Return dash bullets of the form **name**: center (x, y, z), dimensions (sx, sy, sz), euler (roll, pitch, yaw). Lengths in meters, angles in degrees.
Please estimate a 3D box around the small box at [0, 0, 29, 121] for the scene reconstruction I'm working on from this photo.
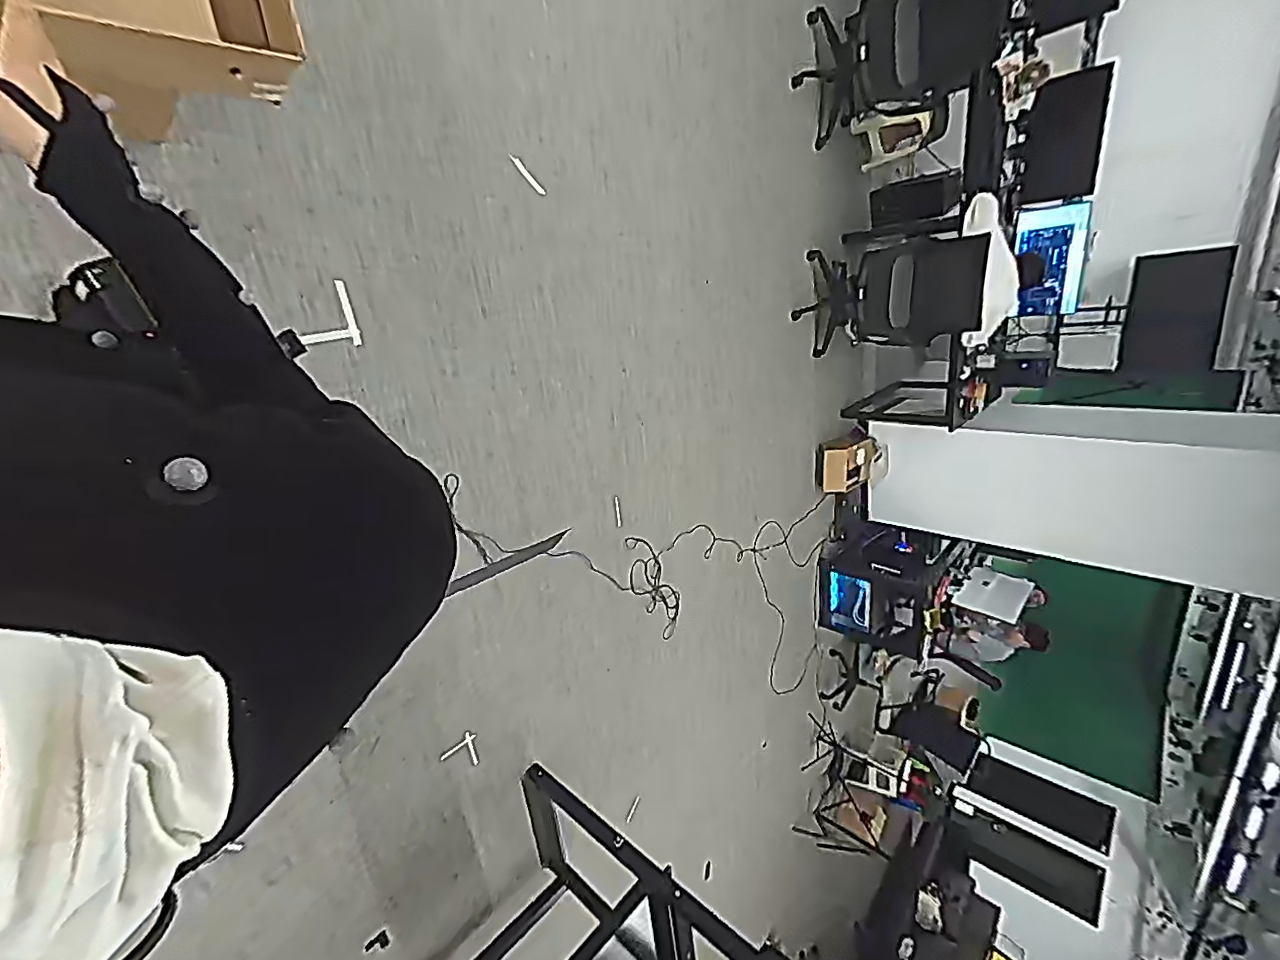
- **small box**: center (-0.571, -0.390, 0.379), dimensions (0.168, 0.176, 0.179), euler (-13, 112, -46)
